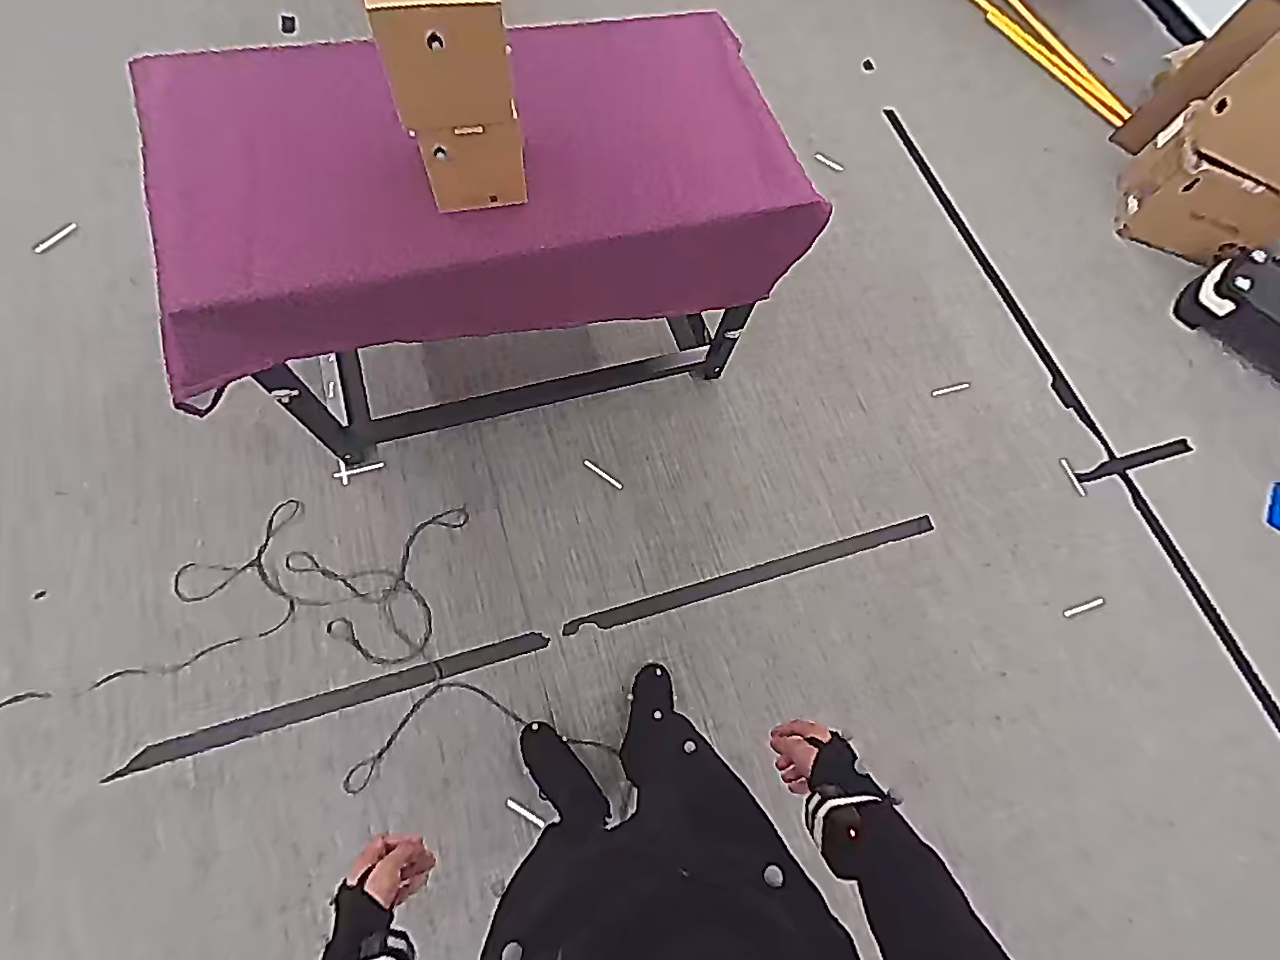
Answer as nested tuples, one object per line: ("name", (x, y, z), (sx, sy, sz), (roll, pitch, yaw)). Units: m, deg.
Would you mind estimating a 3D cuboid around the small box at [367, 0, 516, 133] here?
("small box", (-0.294, -0.654, 0.811), (0.179, 0.176, 0.168), (-13, 72, -12))
